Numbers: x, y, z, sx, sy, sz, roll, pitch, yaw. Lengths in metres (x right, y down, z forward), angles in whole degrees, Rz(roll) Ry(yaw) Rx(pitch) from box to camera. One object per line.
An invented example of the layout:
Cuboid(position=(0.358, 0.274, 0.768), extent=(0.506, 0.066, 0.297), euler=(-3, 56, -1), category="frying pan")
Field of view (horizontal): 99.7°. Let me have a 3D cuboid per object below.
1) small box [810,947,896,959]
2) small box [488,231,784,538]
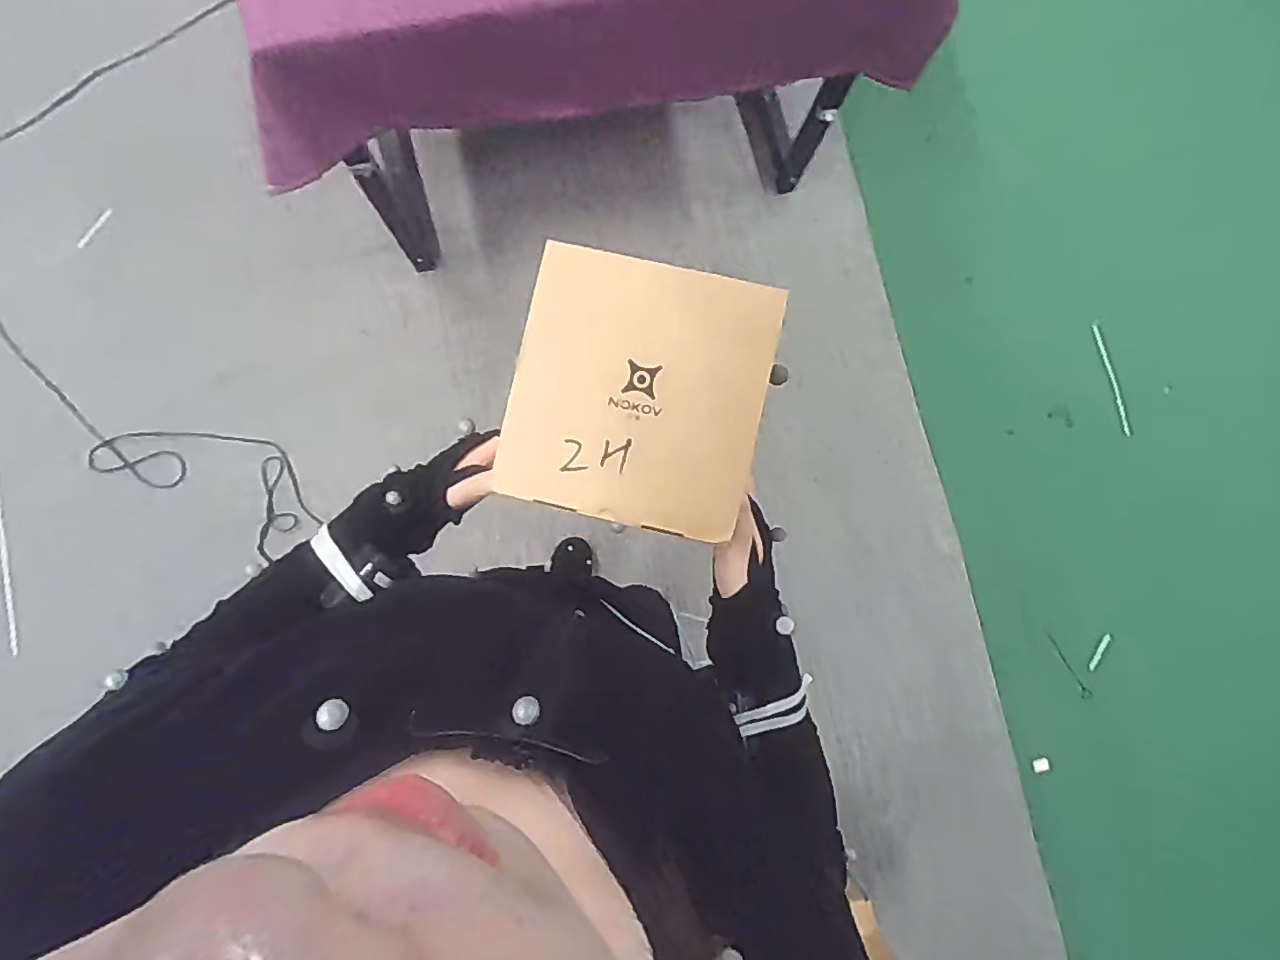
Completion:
Cuboid(position=(0.396, 0.940, 0.910), extent=(0.168, 0.176, 0.179), euler=(-10, 83, -4), category="small box")
Cuboid(position=(0.000, -0.062, 0.434), extent=(0.168, 0.176, 0.179), euler=(13, 90, 3), category="small box")
